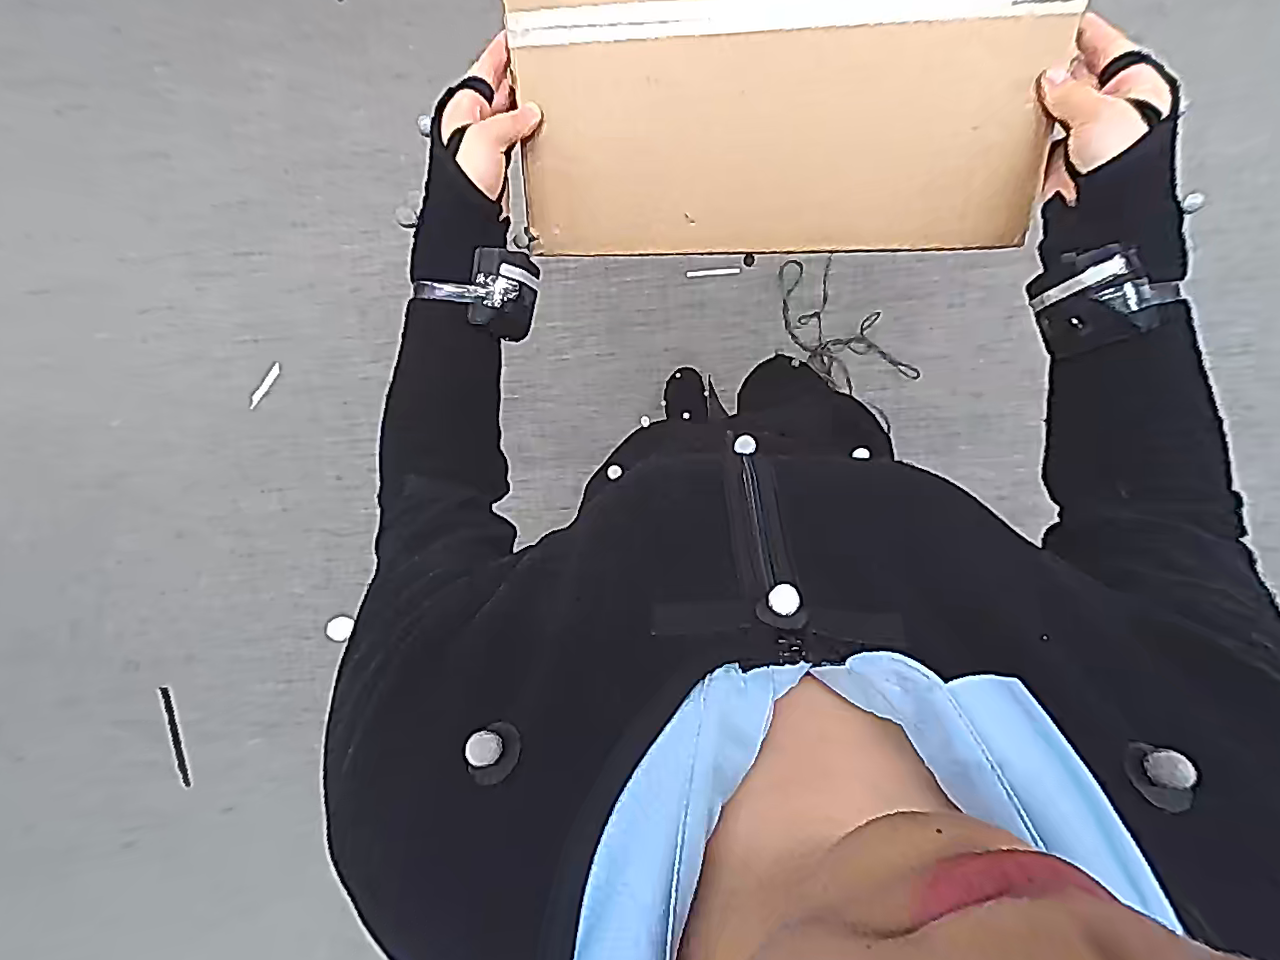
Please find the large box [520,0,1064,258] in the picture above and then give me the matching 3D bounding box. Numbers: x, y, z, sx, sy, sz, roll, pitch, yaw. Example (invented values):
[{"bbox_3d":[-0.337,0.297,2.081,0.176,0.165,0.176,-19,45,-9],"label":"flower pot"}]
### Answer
[{"bbox_3d":[0.121,-0.401,0.539,0.408,0.320,0.320,1,113,6],"label":"large box"}]
